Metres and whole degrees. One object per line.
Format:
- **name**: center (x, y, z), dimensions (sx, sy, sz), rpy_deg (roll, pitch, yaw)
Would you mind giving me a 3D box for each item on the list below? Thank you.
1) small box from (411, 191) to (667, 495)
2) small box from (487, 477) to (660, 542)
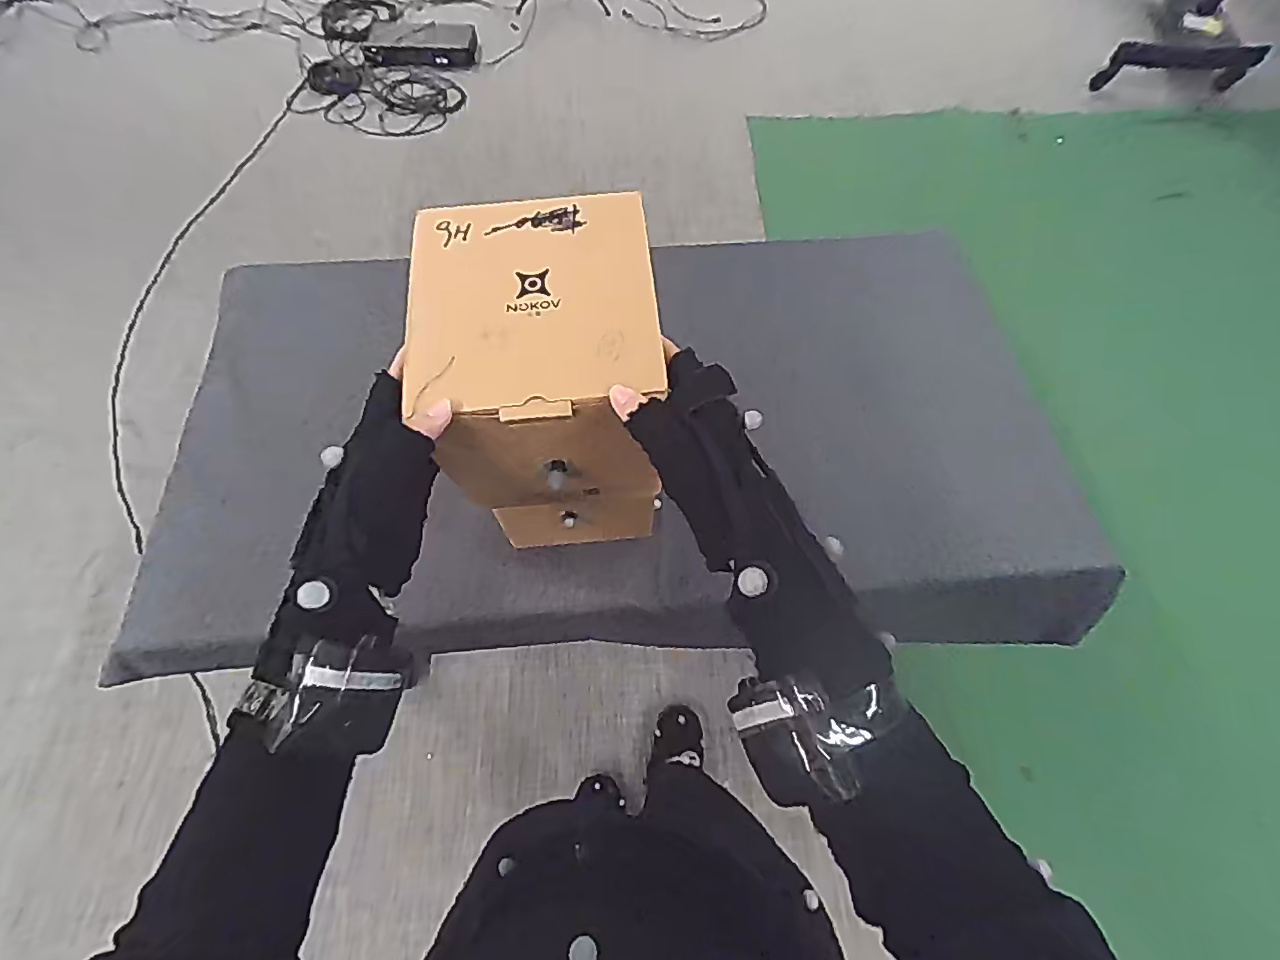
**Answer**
- **small box**: center (-0.068, -0.094, 0.440), dimensions (0.168, 0.176, 0.179), rpy_deg (-6, 69, -1)
- **small box**: center (-0.074, -0.033, 0.646), dimensions (0.179, 0.176, 0.168), rpy_deg (-5, 64, -2)
